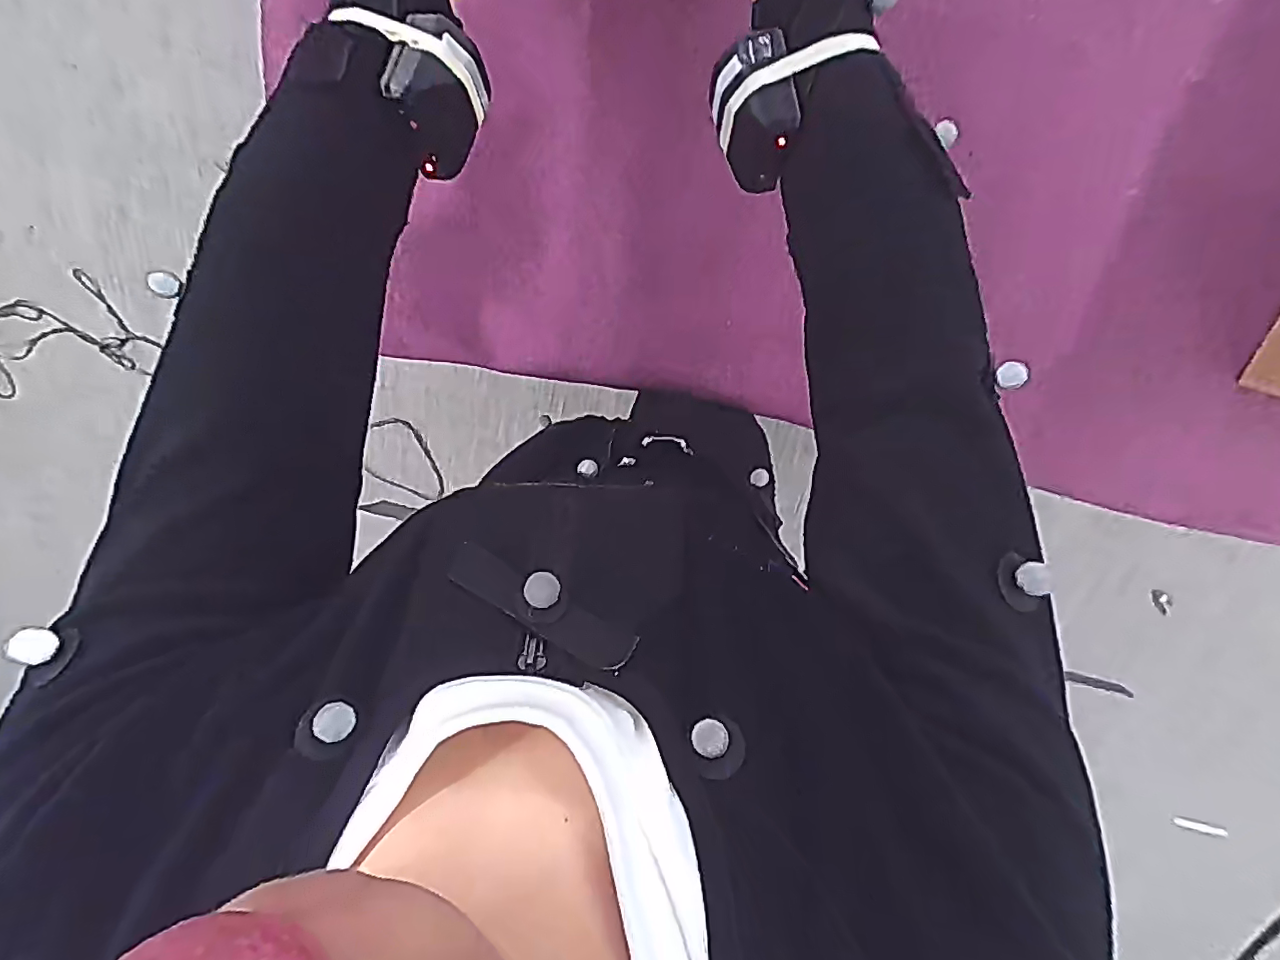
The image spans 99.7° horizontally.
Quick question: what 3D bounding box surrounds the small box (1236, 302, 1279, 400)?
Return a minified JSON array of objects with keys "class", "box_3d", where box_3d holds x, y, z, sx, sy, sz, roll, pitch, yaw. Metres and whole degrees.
[{"class":"small box","box_3d":[0.659,-0.115,0.416,0.179,0.176,0.168,15,110,2]}]
